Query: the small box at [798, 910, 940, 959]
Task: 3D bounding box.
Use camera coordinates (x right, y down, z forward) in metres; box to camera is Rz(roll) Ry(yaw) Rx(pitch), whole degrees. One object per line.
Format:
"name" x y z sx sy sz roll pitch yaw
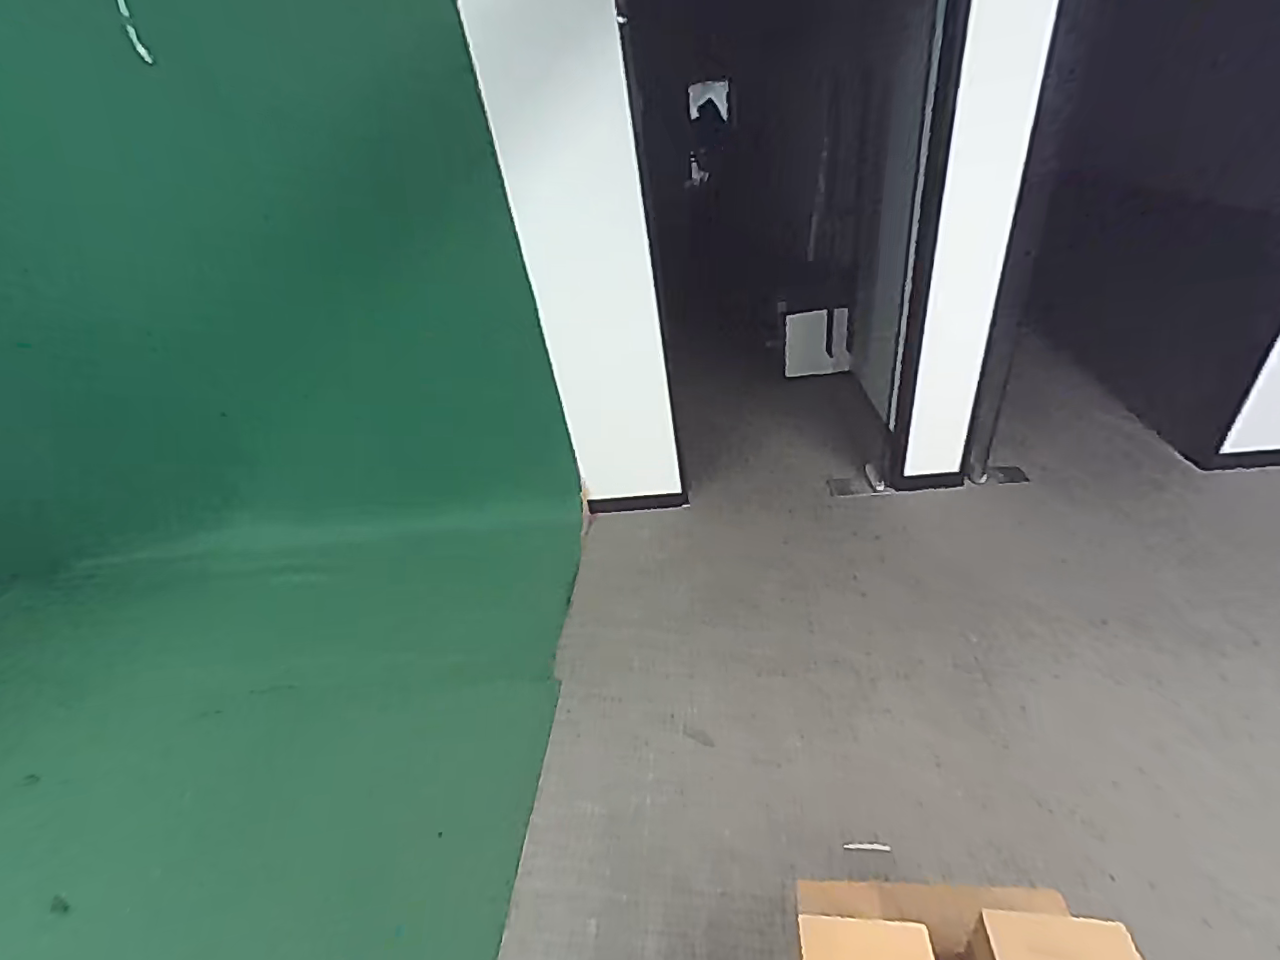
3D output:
"small box" 0.302 0.698 0.700 0.168 0.176 0.179 -3 36 9

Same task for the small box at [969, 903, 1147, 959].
"small box" 0.535 0.671 0.671 0.168 0.176 0.179 -3 33 13
